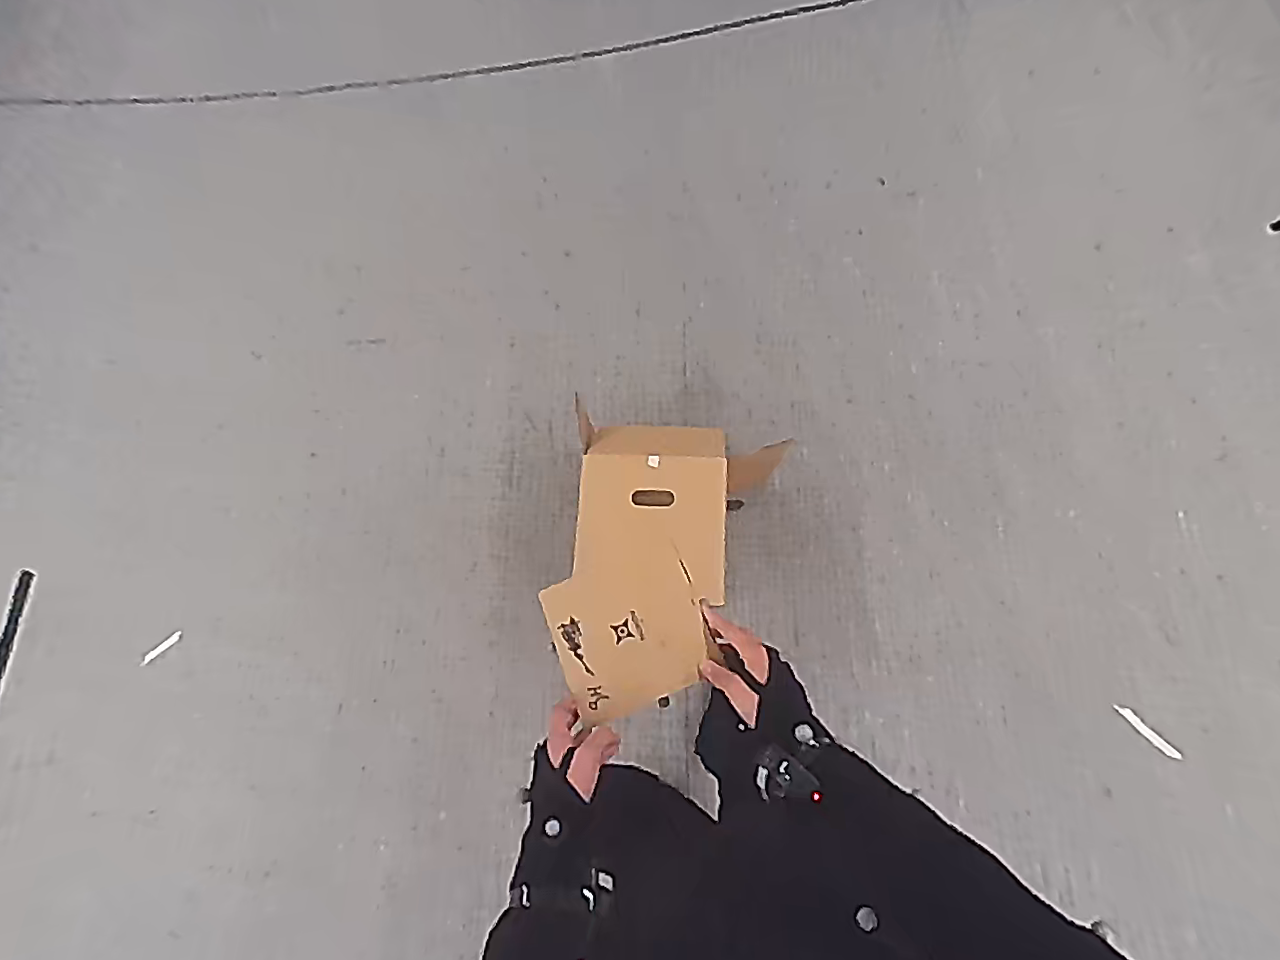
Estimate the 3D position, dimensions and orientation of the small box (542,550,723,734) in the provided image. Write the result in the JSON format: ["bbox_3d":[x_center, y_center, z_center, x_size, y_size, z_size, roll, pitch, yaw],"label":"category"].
[{"bbox_3d":[-0.008,0.208,0.711,0.179,0.176,0.168,-21,72,-3],"label":"small box"}]
